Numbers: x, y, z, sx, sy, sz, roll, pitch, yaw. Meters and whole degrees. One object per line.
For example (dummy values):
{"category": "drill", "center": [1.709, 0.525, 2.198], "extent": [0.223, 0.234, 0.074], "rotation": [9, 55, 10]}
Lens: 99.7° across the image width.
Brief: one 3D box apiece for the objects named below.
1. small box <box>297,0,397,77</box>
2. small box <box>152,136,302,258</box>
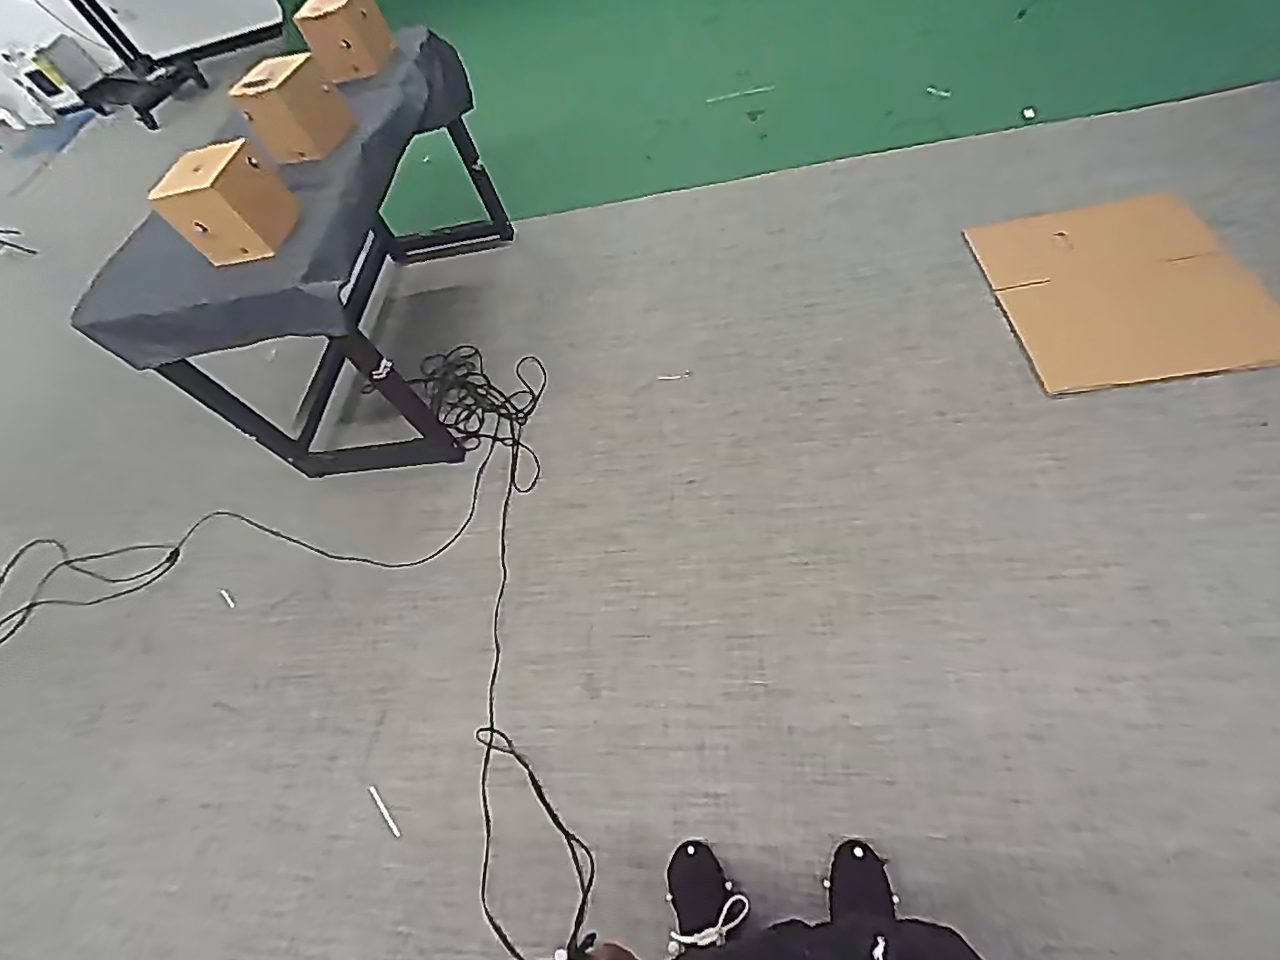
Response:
{"category": "small box", "center": [-0.851, -1.318, 1.589], "extent": [0.168, 0.176, 0.179], "rotation": [0, 60, 13]}
{"category": "small box", "center": [-0.890, -0.609, 1.185], "extent": [0.168, 0.176, 0.179], "rotation": [-4, 59, 13]}
